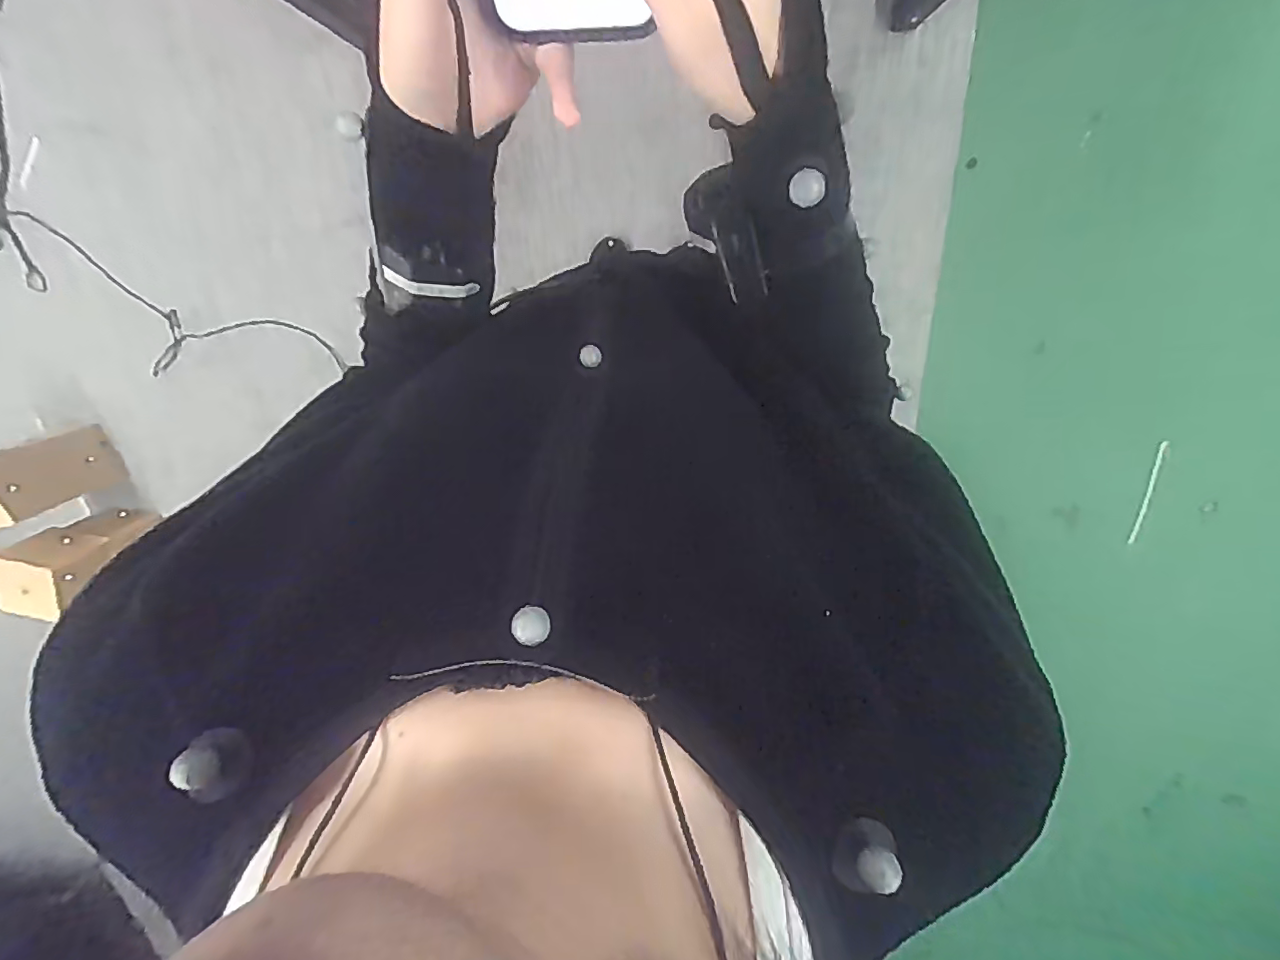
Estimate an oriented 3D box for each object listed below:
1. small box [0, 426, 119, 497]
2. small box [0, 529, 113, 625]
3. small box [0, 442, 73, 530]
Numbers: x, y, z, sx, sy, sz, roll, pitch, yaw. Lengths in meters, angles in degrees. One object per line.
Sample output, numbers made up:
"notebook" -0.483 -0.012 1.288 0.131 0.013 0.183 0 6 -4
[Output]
"small box" -1.649 -0.046 1.534 0.179 0.176 0.168 -8 112 7
"small box" -1.612 0.262 1.487 0.168 0.176 0.179 14 111 -2
"small box" -1.642 0.022 1.386 0.168 0.176 0.179 -13 112 7
